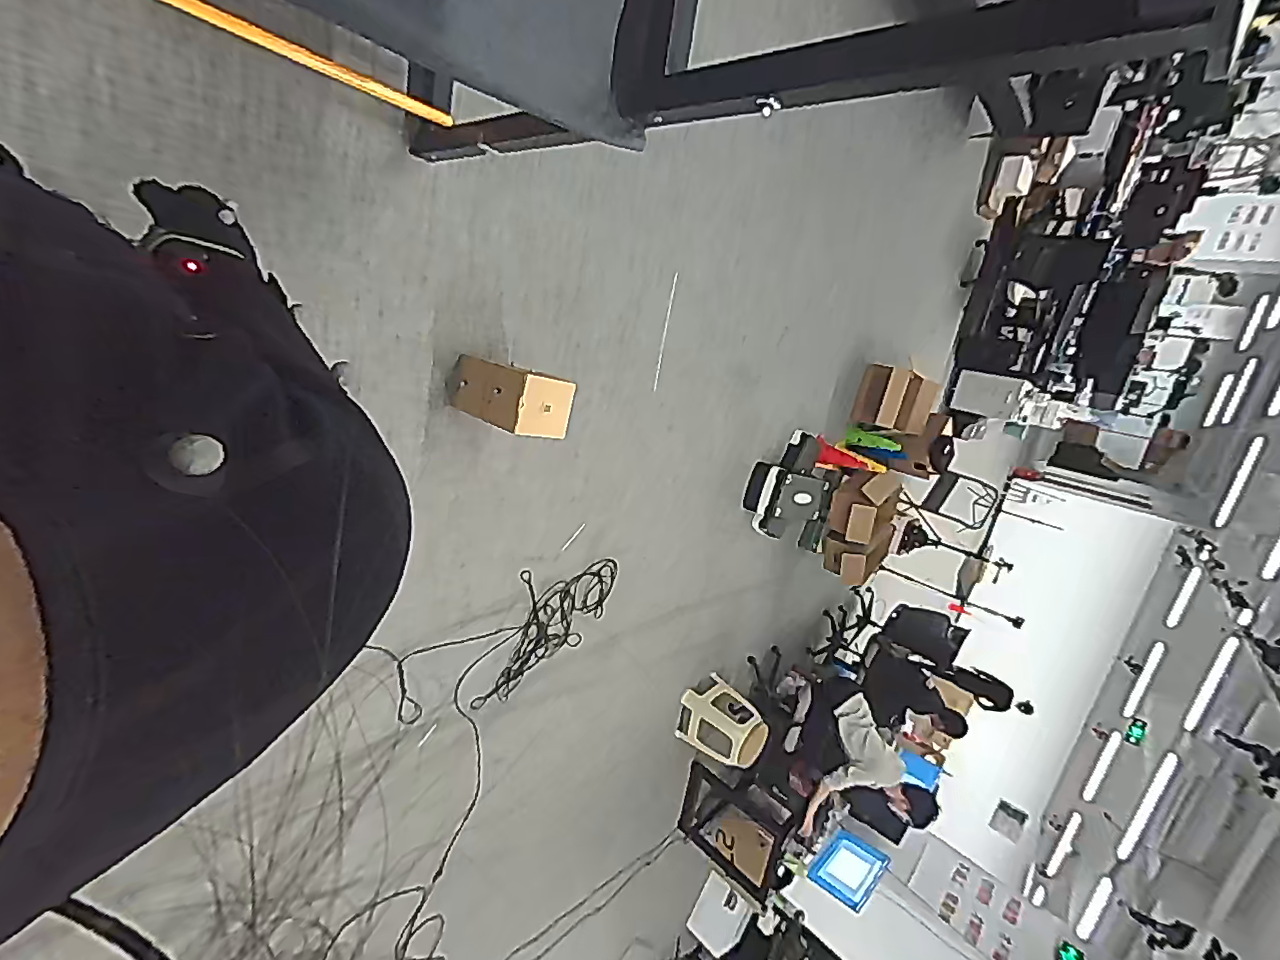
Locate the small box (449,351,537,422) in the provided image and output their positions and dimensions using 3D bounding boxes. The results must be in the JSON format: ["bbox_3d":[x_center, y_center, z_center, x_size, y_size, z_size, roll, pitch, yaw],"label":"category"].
[{"bbox_3d":[-0.446,-0.284,1.630,0.179,0.176,0.168,3,105,-49],"label":"small box"}]
